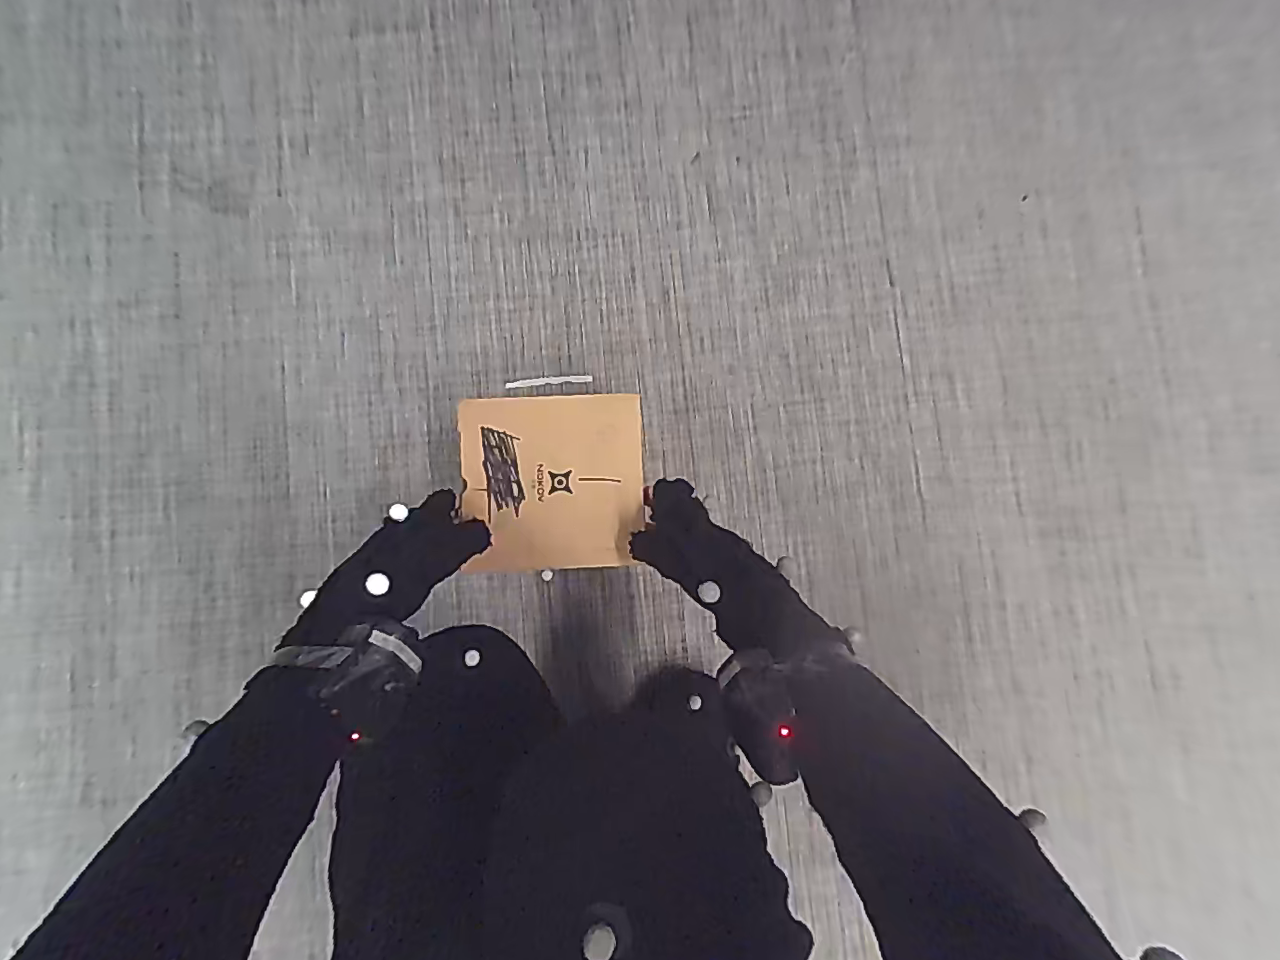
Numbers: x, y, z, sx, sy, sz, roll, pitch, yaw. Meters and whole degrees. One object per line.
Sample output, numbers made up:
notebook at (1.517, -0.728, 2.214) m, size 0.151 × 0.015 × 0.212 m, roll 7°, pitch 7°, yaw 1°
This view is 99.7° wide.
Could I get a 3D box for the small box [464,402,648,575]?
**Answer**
small box at (-0.082, 0.017, 0.596) m, size 0.179 × 0.176 × 0.168 m, roll -3°, pitch 84°, yaw -2°
